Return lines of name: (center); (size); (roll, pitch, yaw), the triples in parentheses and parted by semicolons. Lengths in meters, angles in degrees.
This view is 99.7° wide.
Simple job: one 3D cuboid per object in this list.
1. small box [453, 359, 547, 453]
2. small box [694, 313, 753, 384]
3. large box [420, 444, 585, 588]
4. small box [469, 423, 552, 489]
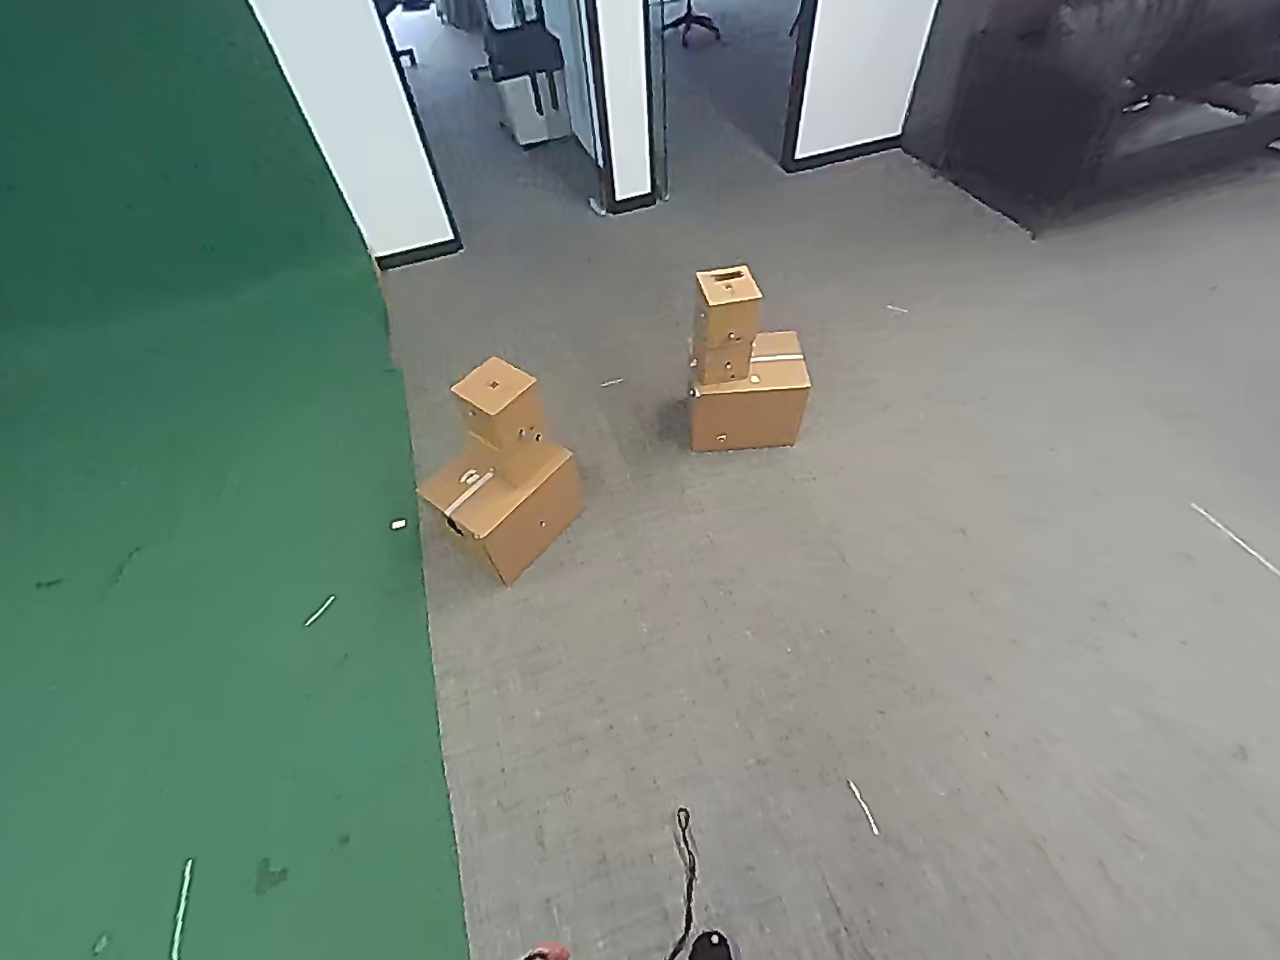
small box: (-0.388, -0.204, 1.523); (0.179, 0.176, 0.168); (32, 61, 24)
small box: (0.284, -0.446, 1.871); (0.168, 0.176, 0.179); (-9, 53, -4)
large box: (-0.441, 0.077, 1.827); (0.320, 0.320, 0.408); (29, 60, 25)
small box: (-0.387, -0.107, 1.653); (0.168, 0.176, 0.179); (29, 60, 24)
